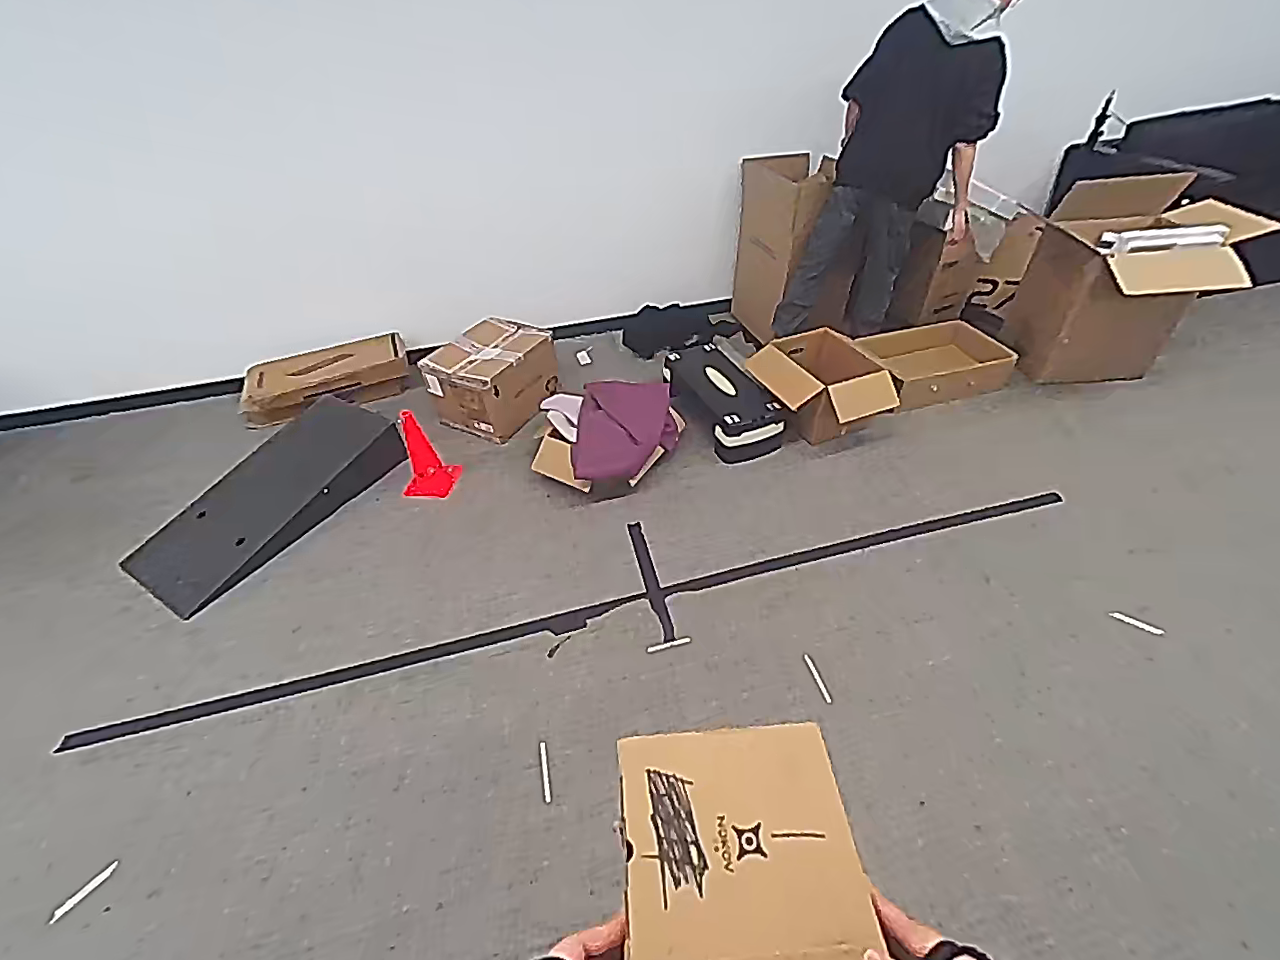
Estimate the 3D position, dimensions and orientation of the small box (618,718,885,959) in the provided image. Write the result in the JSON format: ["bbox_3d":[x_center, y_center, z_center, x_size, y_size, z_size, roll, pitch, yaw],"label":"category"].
[{"bbox_3d":[0.076,0.328,0.468,0.179,0.176,0.168,-4,44,-3],"label":"small box"}]
